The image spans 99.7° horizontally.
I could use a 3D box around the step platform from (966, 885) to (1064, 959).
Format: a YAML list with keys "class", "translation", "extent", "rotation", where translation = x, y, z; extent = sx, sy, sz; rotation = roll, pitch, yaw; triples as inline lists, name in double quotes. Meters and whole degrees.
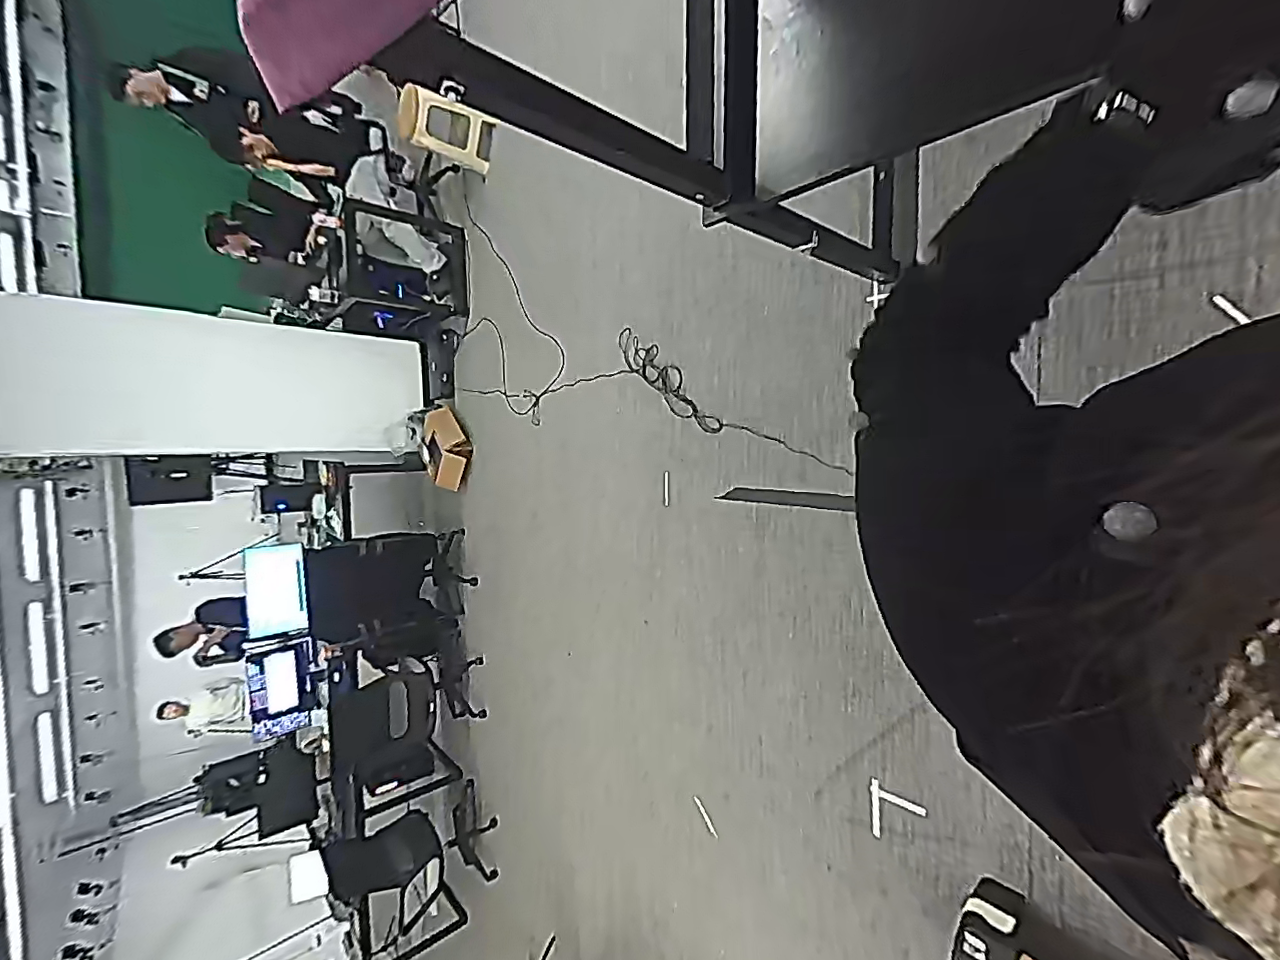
- class: "step platform"
  translation: [1.043, 1.199, 1.084]
  extent: [0.684, 0.204, 0.286]
  rotation: [12, 102, 47]
